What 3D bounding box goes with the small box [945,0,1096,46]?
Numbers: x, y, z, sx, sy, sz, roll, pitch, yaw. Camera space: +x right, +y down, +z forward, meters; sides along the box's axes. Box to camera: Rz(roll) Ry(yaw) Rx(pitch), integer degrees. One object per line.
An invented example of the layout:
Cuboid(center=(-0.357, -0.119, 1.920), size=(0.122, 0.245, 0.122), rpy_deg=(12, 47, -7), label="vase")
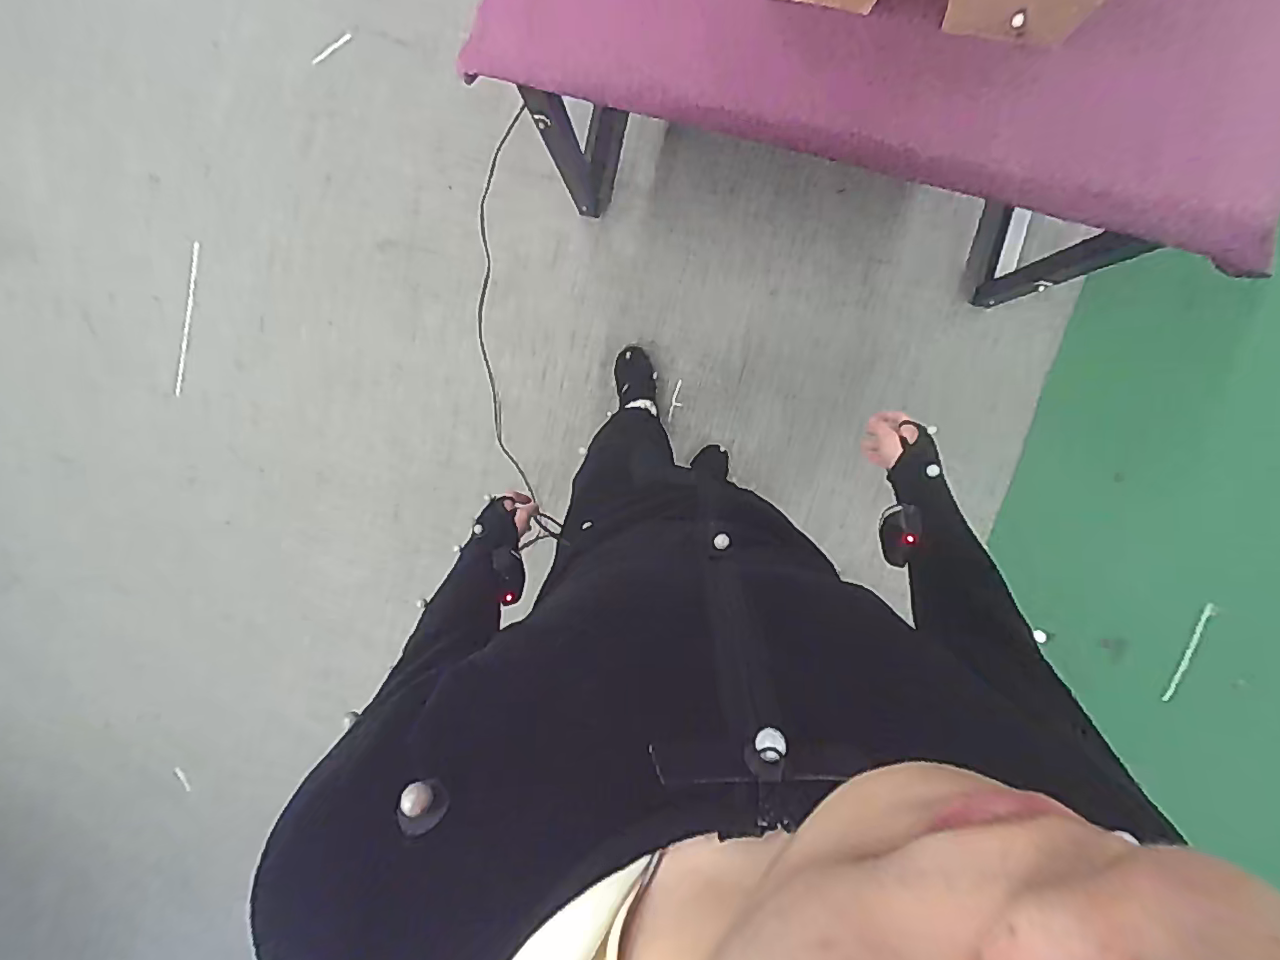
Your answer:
Cuboid(center=(0.522, -0.711, 0.687), size=(0.168, 0.176, 0.179), rpy_deg=(11, 97, 3), label="small box")
